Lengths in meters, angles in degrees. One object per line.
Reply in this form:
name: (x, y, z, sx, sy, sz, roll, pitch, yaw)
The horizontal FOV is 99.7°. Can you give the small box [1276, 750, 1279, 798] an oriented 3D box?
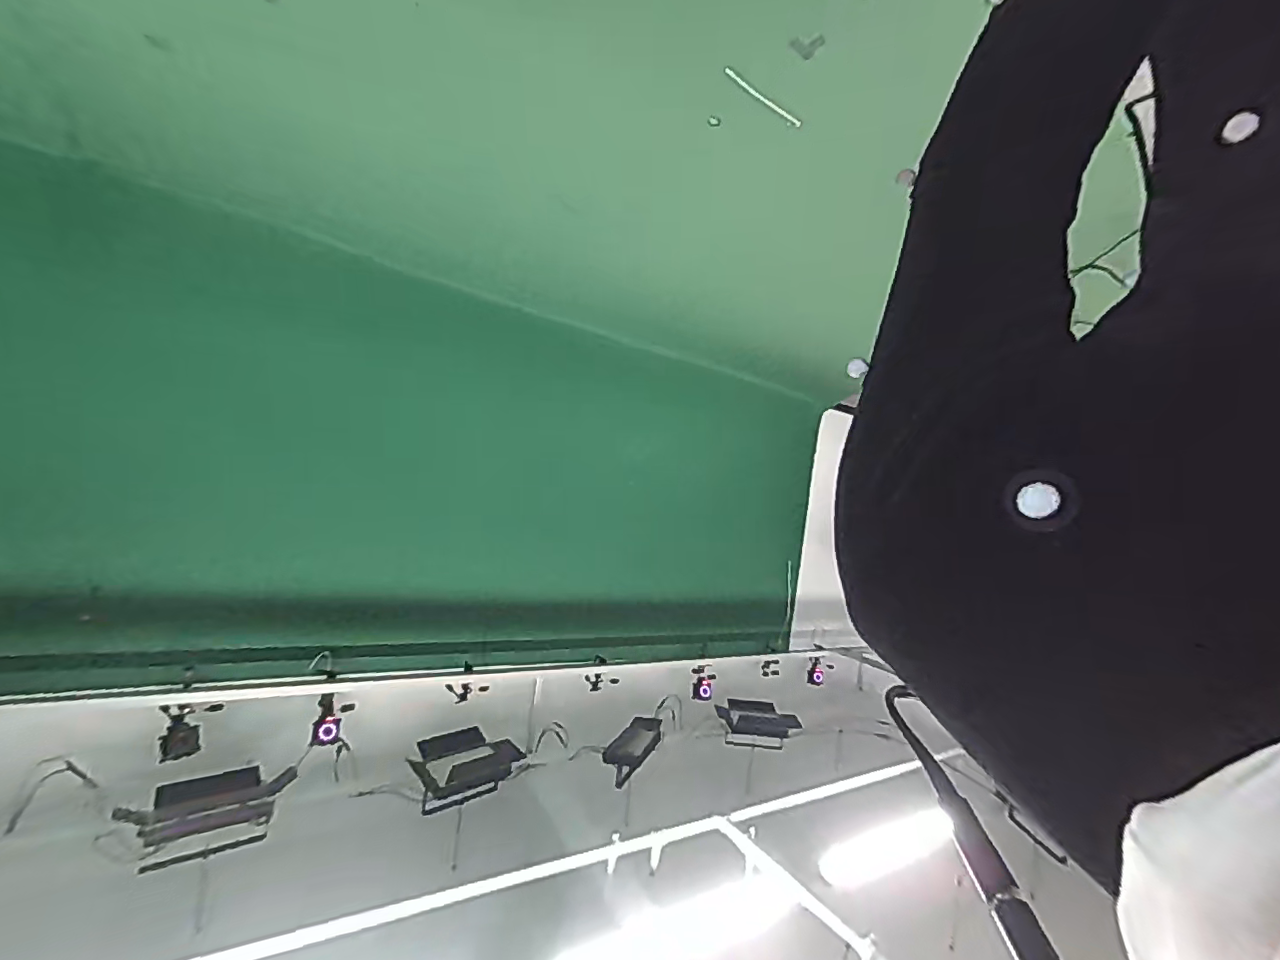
small box: (1.844, 0.789, 1.442, 0.179, 0.176, 0.168, 7, 180, -31)
